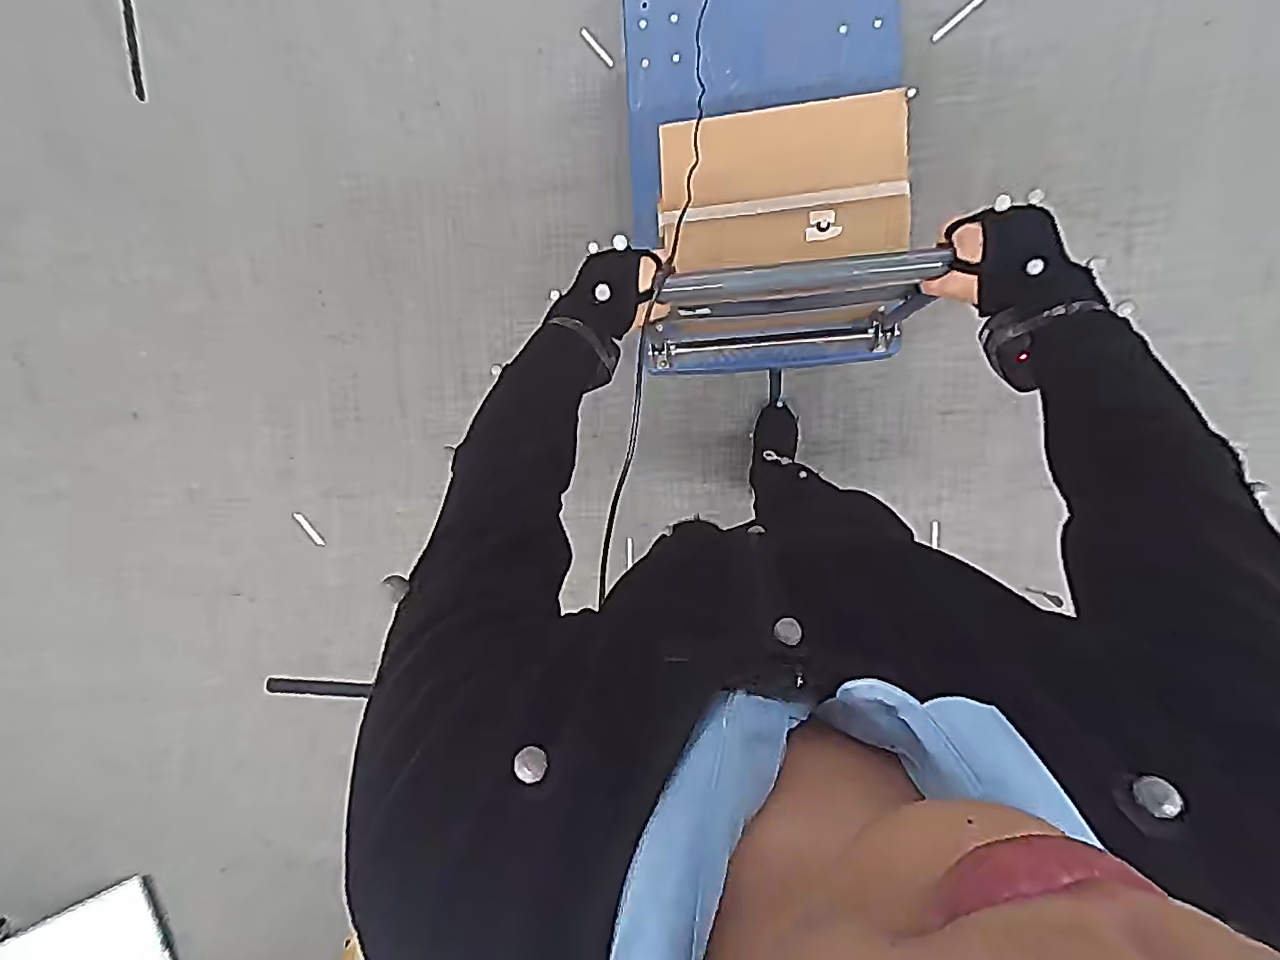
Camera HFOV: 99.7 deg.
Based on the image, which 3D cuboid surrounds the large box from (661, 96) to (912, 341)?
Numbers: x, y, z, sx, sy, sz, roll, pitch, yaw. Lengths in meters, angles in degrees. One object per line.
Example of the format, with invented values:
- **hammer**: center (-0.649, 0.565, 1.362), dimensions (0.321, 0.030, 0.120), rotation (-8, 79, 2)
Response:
- **large box**: center (0.263, -0.466, 1.055), dimensions (0.408, 0.320, 0.320), rotation (-3, 96, 9)
